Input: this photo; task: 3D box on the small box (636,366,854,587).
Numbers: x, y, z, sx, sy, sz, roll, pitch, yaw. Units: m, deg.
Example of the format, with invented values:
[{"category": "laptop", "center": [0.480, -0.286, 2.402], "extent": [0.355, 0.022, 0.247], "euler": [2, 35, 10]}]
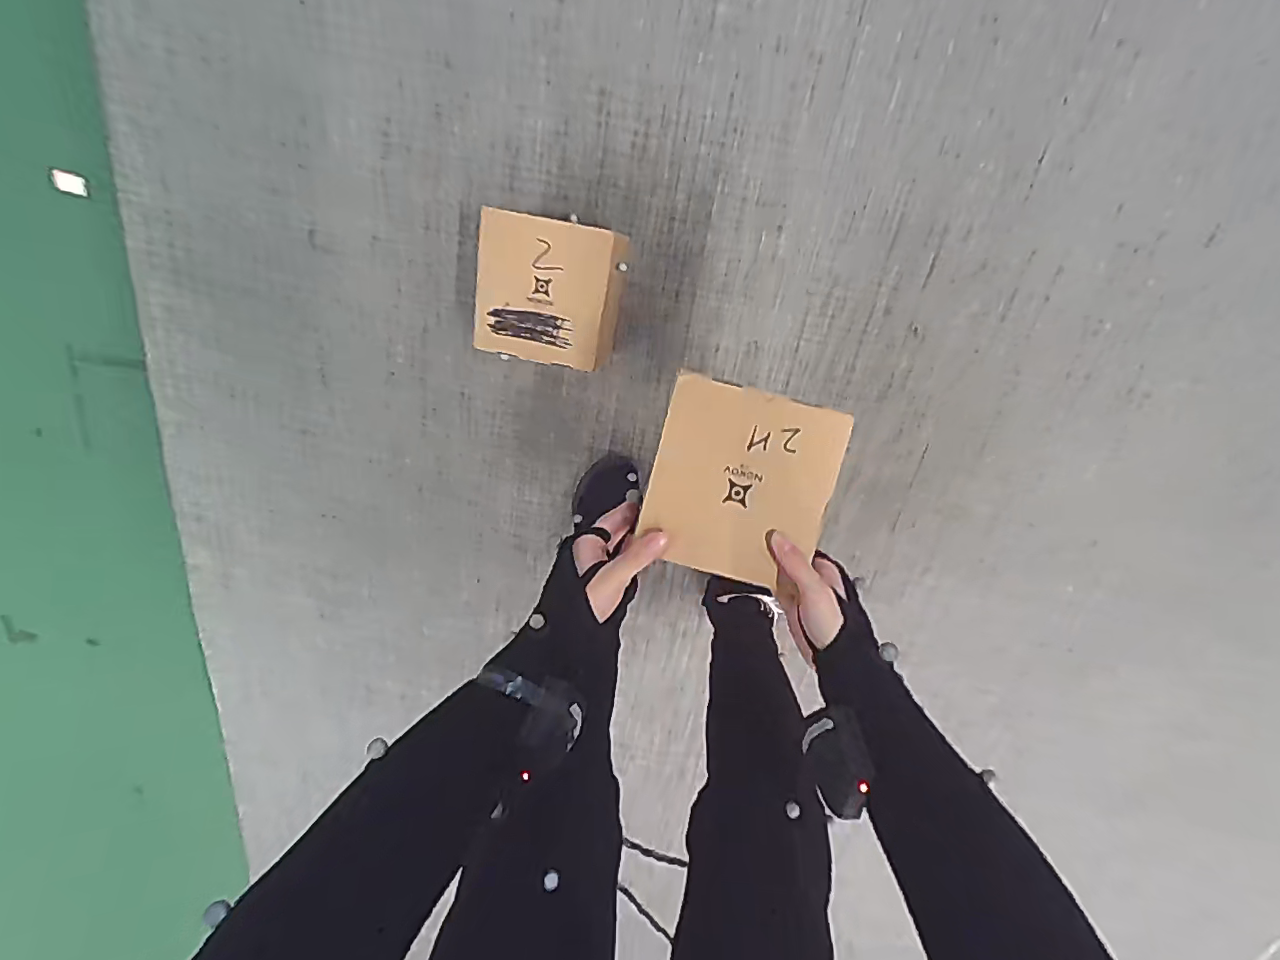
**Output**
[{"category": "small box", "center": [0.099, -0.010, 0.580], "extent": [0.168, 0.176, 0.179], "euler": [15, 97, 0]}]
